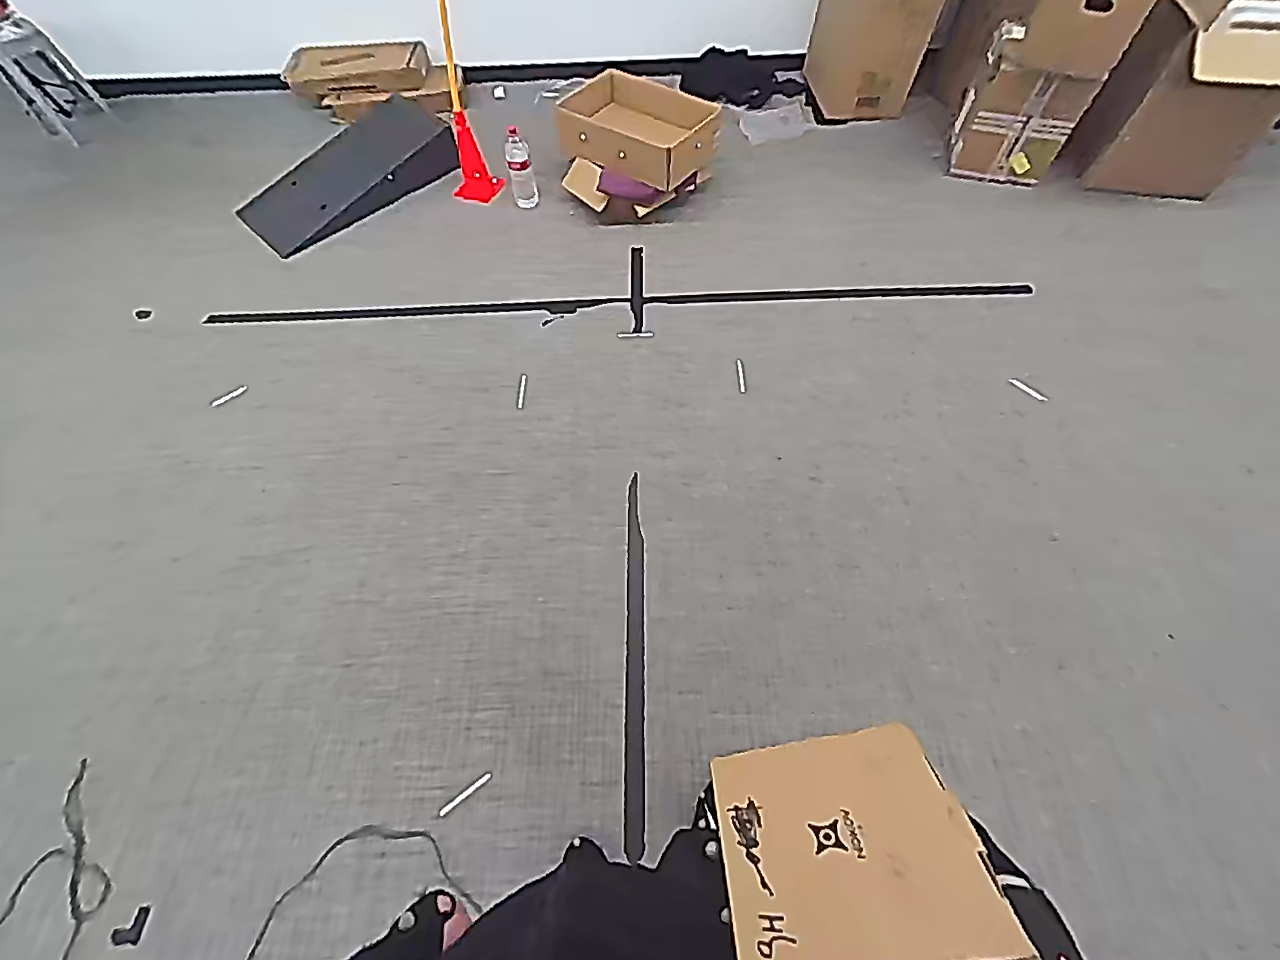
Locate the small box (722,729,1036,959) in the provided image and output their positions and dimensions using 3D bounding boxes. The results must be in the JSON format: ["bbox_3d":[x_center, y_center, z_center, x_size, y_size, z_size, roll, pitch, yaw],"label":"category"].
[{"bbox_3d":[0.174,0.339,0.437,0.179,0.176,0.168,-13,22,5],"label":"small box"}]
